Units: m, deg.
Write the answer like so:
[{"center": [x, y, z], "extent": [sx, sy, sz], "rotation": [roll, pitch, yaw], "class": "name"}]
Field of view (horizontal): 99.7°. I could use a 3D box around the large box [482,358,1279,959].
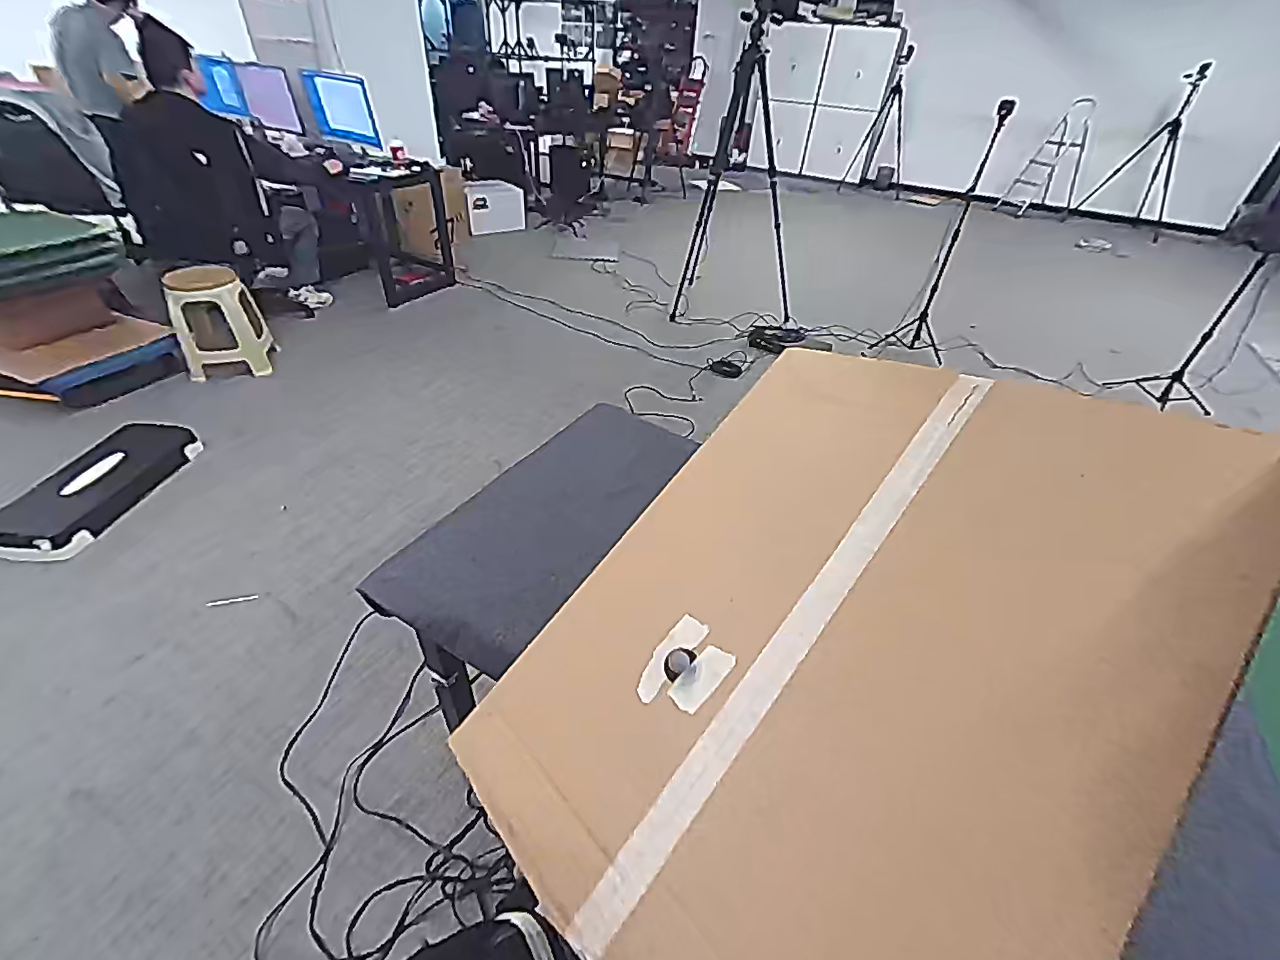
[{"center": [0.173, 0.174, 0.428], "extent": [0.320, 0.320, 0.408], "rotation": [26, 70, 42], "class": "large box"}]
